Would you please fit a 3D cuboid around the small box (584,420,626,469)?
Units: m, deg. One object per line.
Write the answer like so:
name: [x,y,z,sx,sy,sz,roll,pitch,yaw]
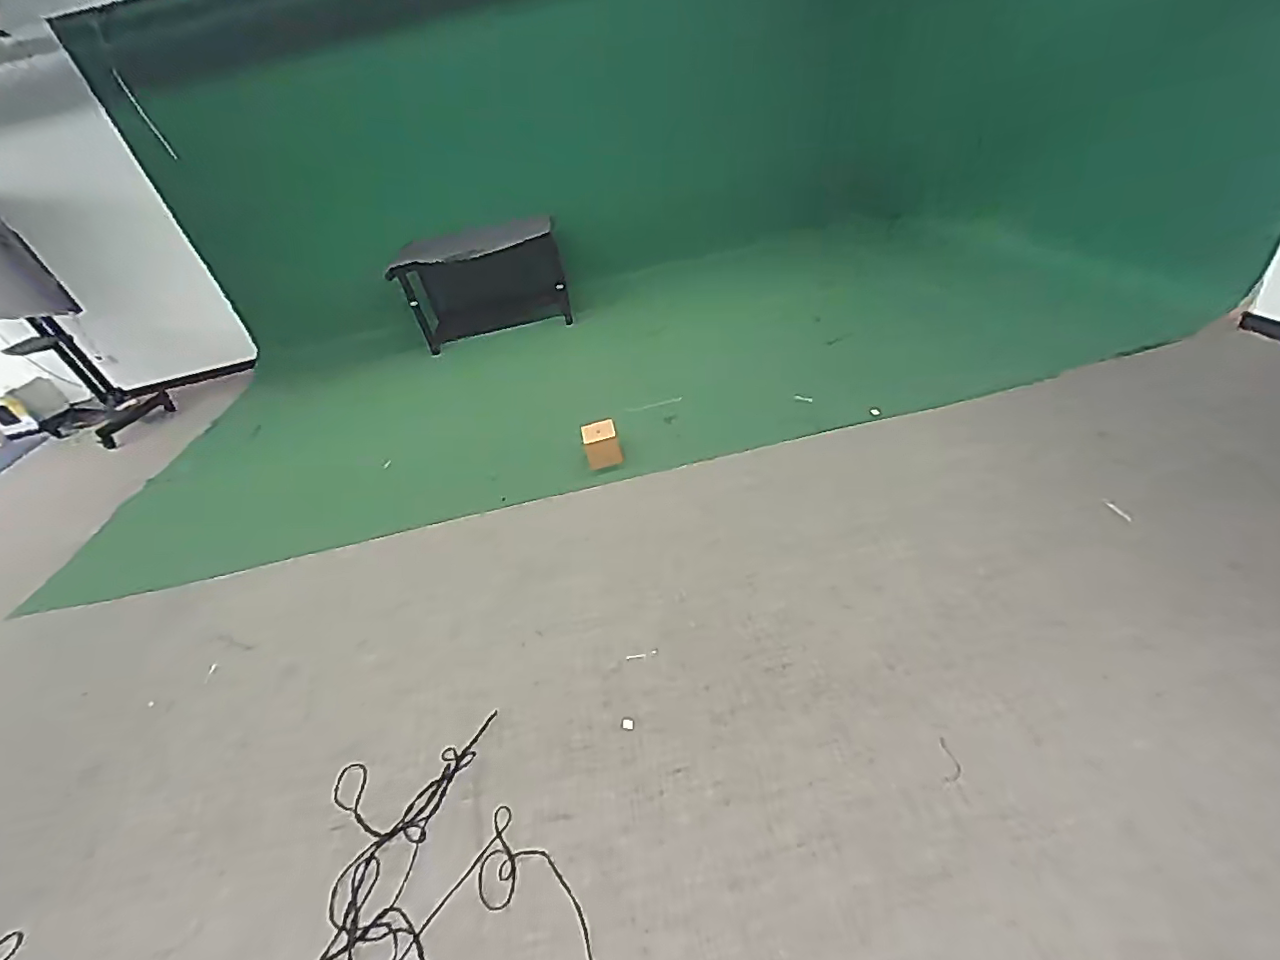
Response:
small box: [-0.177,-0.173,2.746,0.168,0.176,0.179,-15,36,-1]
